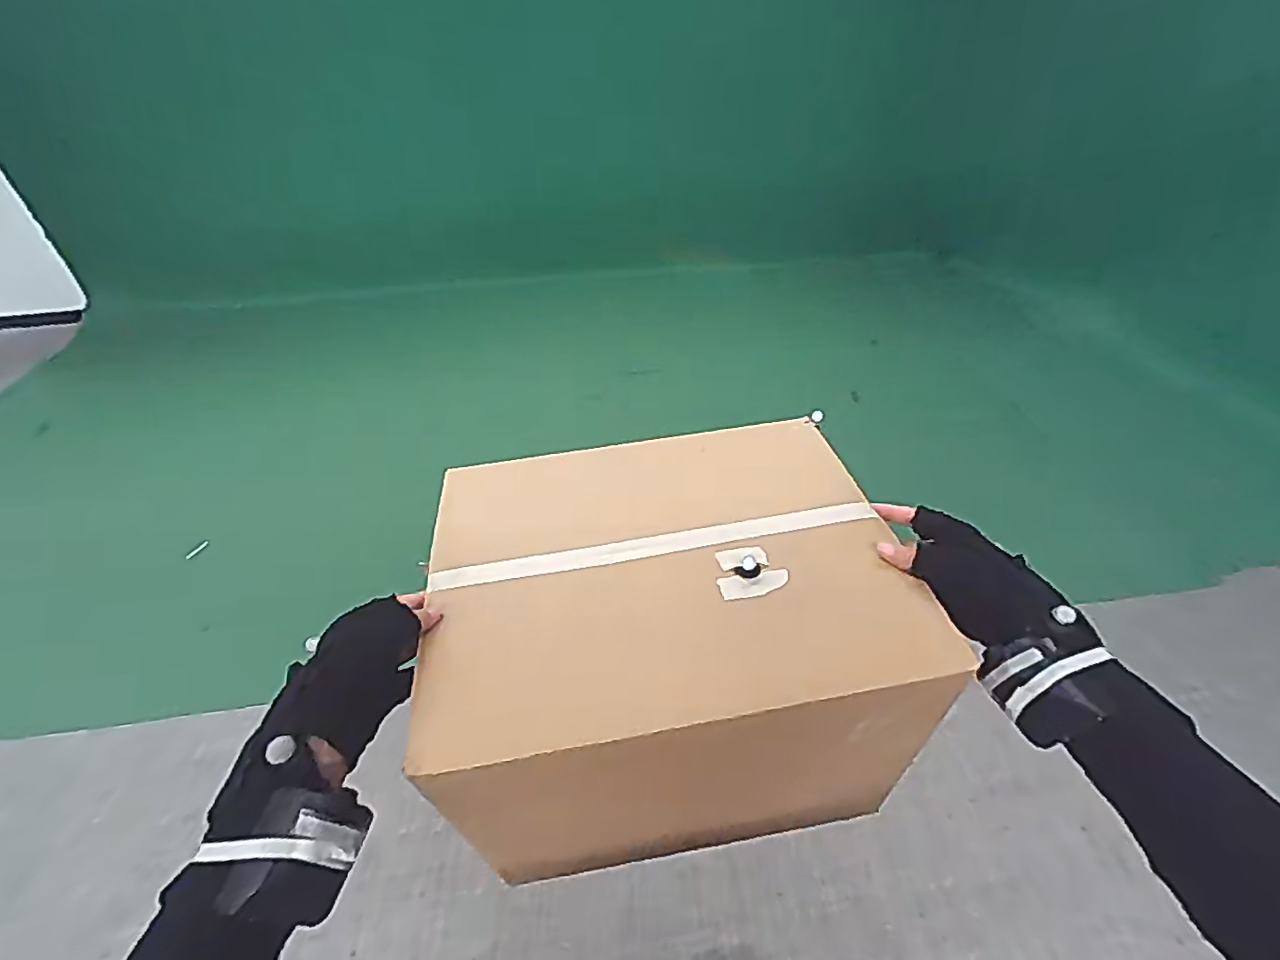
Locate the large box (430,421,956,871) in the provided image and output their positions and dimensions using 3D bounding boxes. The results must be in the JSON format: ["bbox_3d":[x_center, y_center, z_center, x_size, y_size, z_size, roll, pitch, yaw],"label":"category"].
[{"bbox_3d":[0.030,0.173,0.597,0.408,0.320,0.320,-9,43,-5],"label":"large box"}]
